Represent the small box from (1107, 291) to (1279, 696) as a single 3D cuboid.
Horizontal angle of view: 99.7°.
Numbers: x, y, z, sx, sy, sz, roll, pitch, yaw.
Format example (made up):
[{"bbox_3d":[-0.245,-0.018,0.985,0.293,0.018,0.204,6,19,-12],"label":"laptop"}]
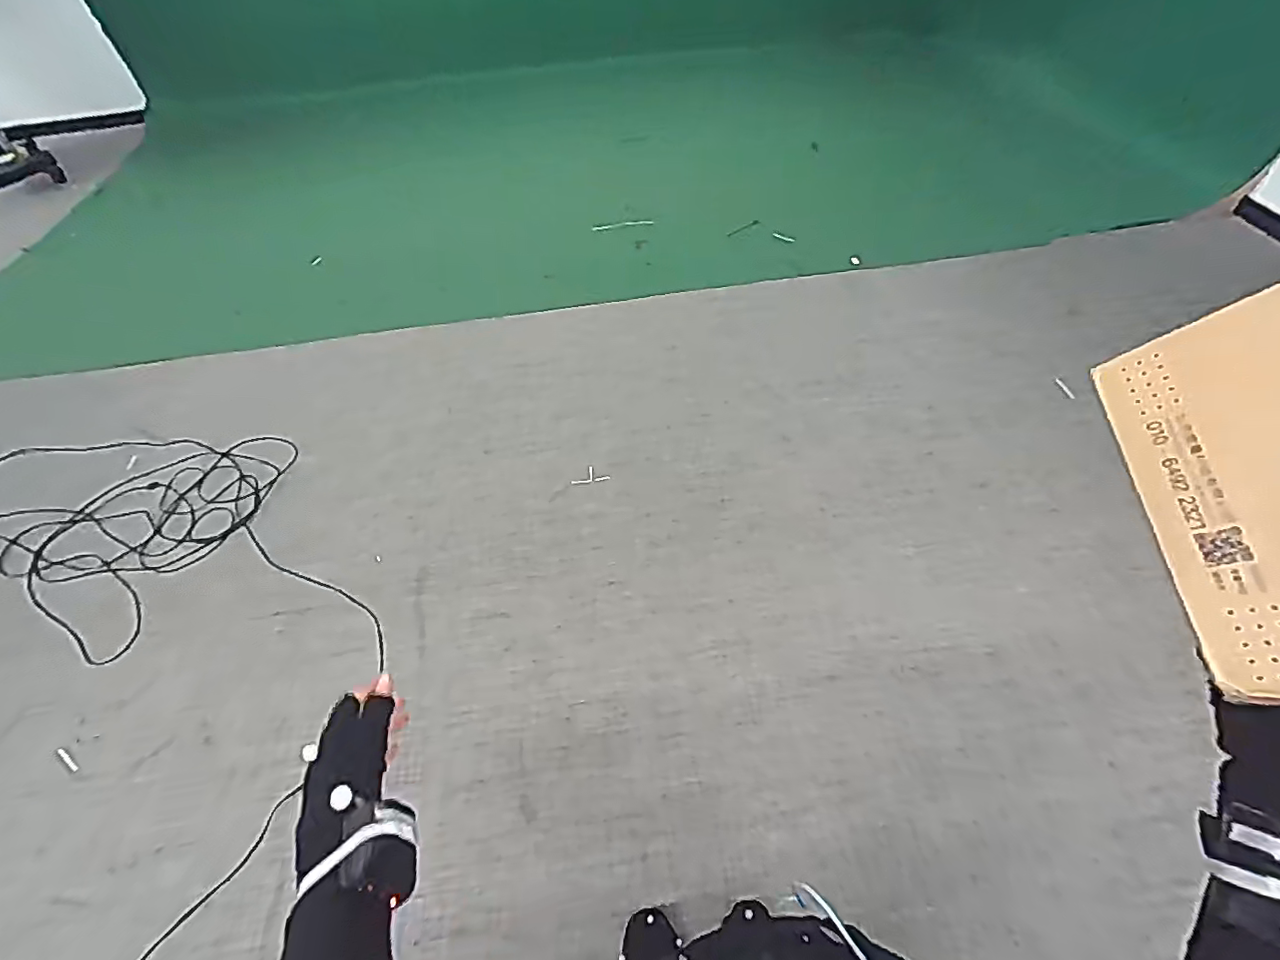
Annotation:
[{"bbox_3d":[0.347,0.000,0.224,0.179,0.176,0.168,13,63,-28],"label":"small box"}]
